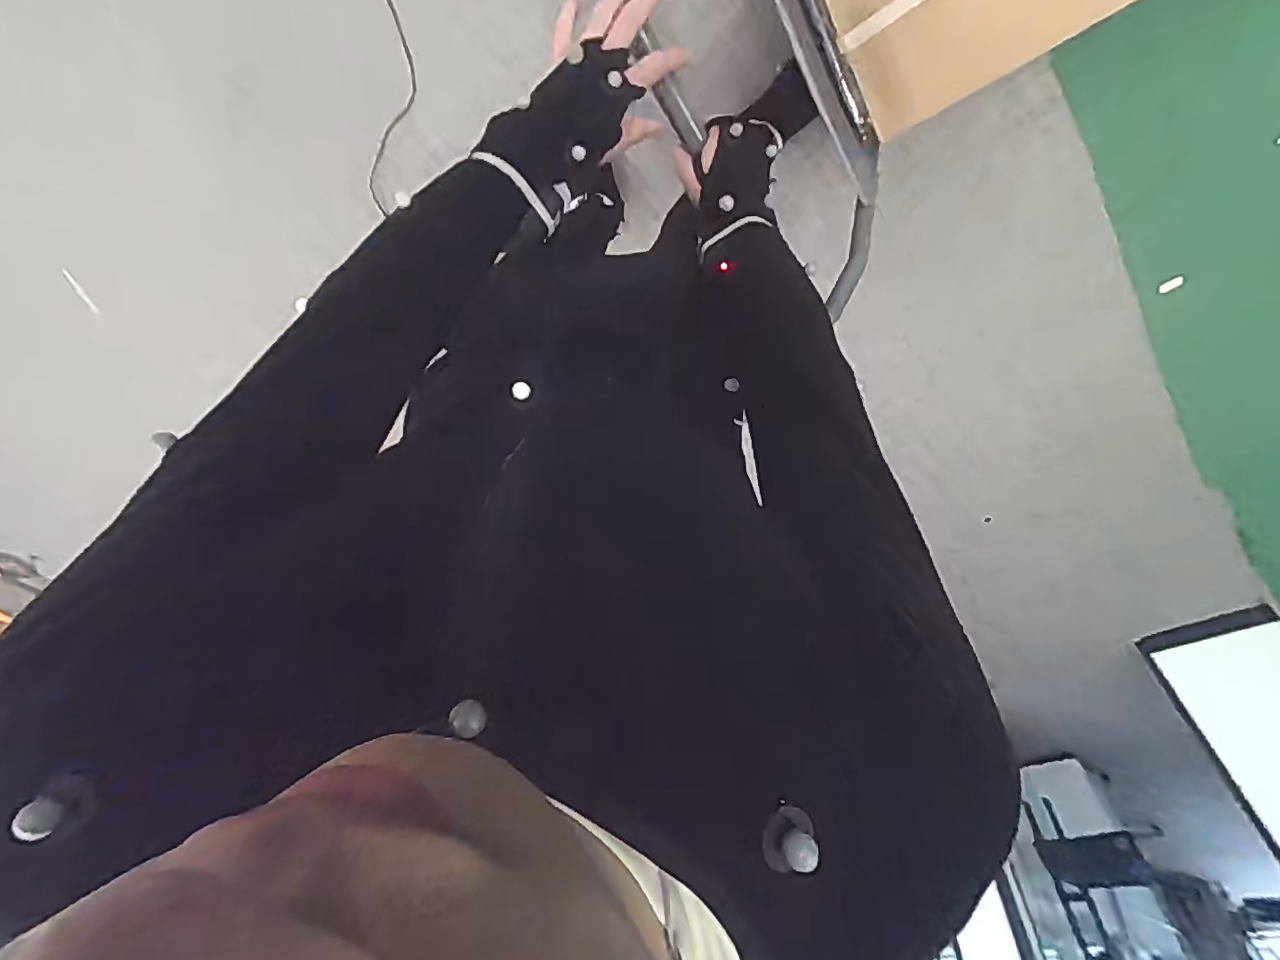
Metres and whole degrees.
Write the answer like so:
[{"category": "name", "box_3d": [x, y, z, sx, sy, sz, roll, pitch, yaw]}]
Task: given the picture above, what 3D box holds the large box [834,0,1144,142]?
[{"category": "large box", "box_3d": [0.486, -0.772, 0.736, 0.408, 0.320, 0.320, -16, 132, 36]}]
